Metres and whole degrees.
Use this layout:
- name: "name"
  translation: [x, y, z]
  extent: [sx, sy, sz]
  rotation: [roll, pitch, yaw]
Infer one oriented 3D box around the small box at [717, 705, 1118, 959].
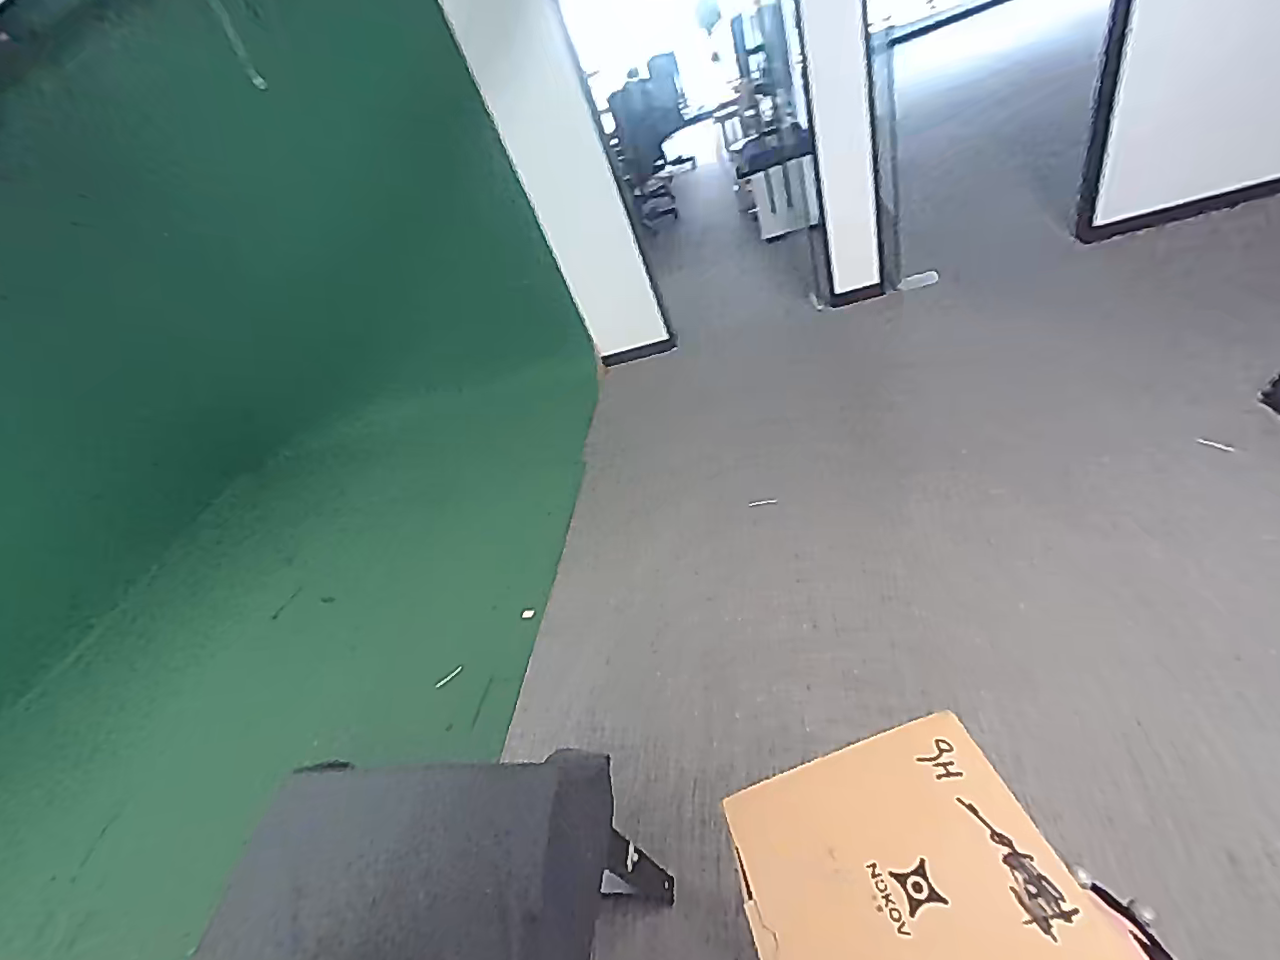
- name: "small box"
  translation: [0.175, 0.294, 0.370]
  extent: [0.179, 0.176, 0.168]
  rotation: [-22, 38, 3]
